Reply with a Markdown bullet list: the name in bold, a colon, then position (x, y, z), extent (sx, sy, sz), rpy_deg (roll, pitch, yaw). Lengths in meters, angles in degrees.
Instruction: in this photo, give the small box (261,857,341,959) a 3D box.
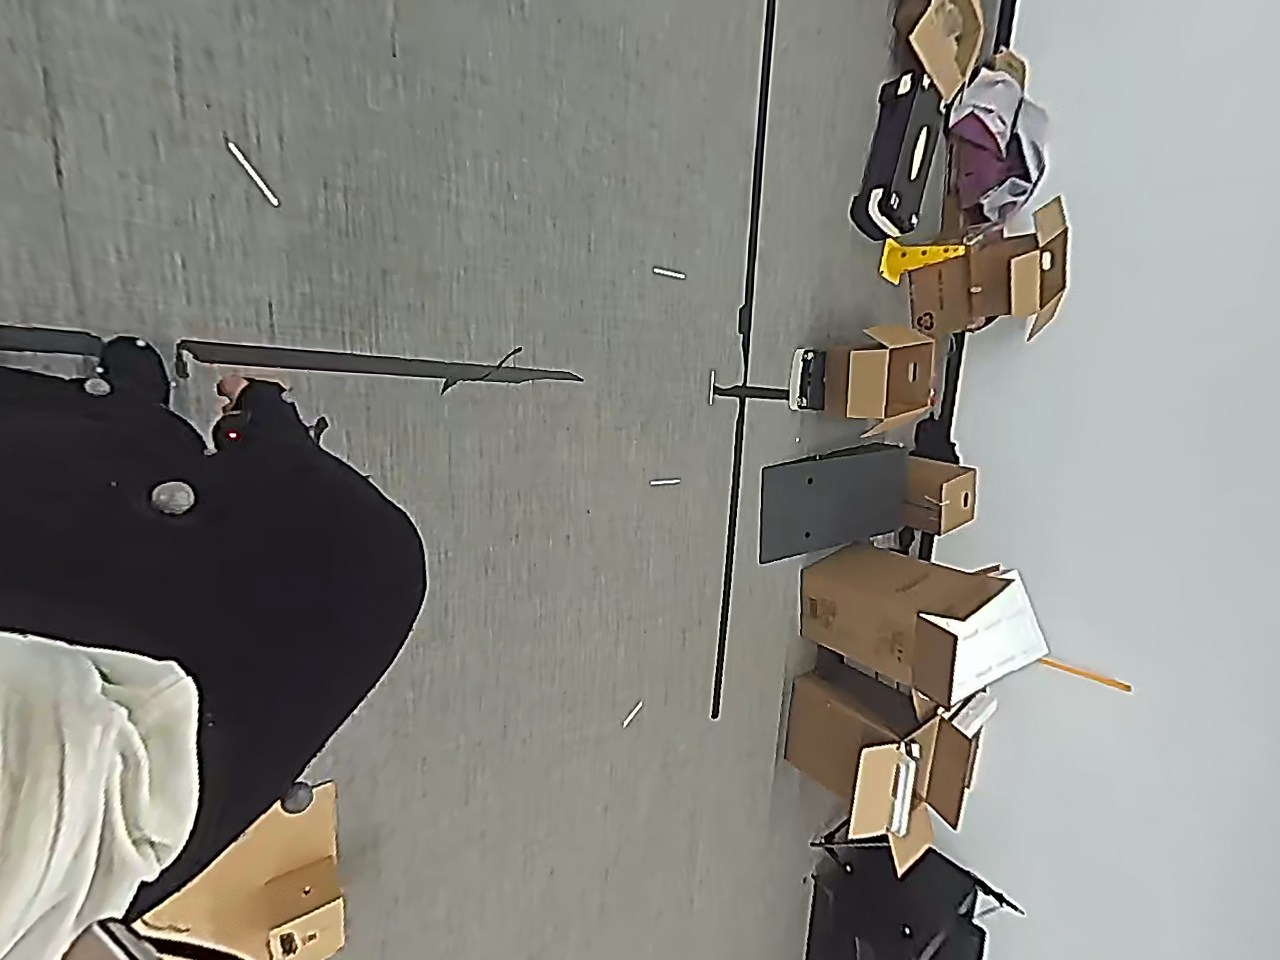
- **small box**: position (-0.960, 1.226, 1.526), extent (0.179, 0.176, 0.168), rpy_deg (-4, 103, -39)
